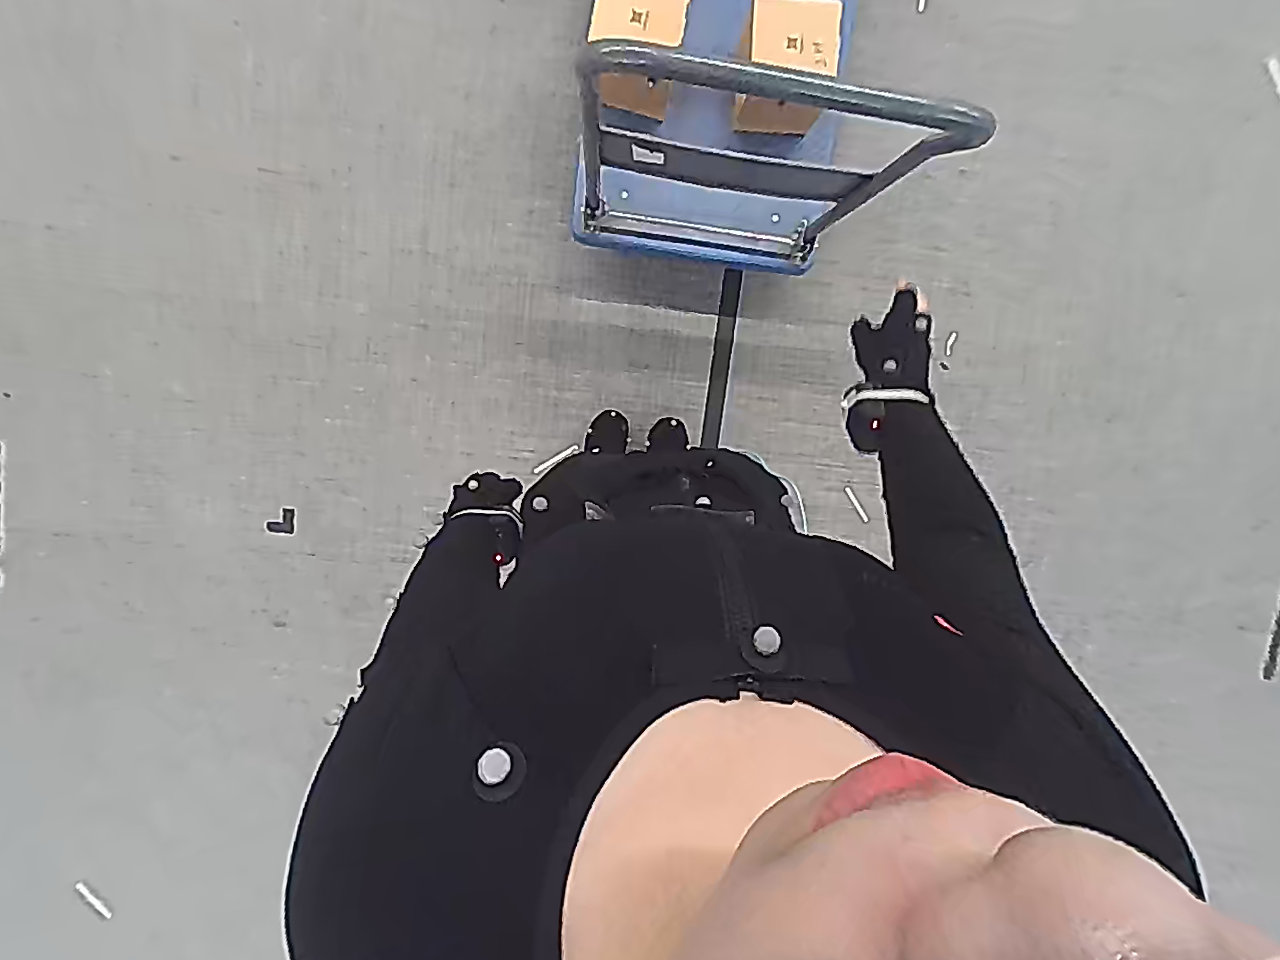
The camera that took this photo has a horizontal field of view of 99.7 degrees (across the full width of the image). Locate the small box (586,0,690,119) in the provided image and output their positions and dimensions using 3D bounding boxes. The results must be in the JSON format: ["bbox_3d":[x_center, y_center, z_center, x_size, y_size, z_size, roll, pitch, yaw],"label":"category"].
[{"bbox_3d":[-0.010,-0.887,1.113,0.179,0.176,0.168,12,96,-7],"label":"small box"}]

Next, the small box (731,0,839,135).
[{"bbox_3d":[0.295,-0.854,1.136,0.179,0.176,0.168,1,98,-4],"label":"small box"}]
